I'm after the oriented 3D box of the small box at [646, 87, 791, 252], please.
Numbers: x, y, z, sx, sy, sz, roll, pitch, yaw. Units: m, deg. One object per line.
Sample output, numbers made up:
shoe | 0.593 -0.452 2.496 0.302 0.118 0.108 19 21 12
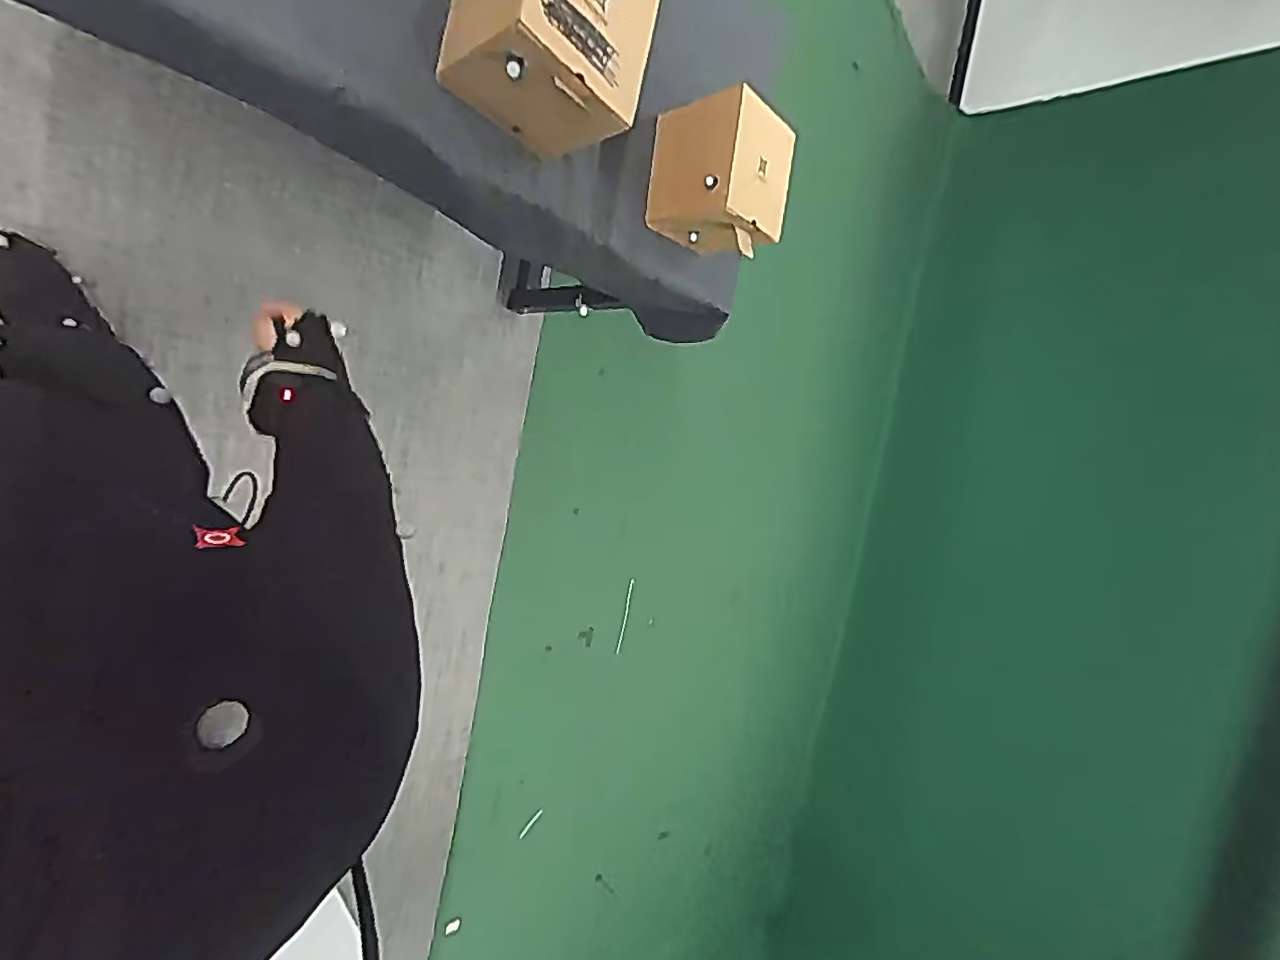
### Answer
small box | 0.128 -0.499 0.902 0.168 0.176 0.179 -1 101 -48
